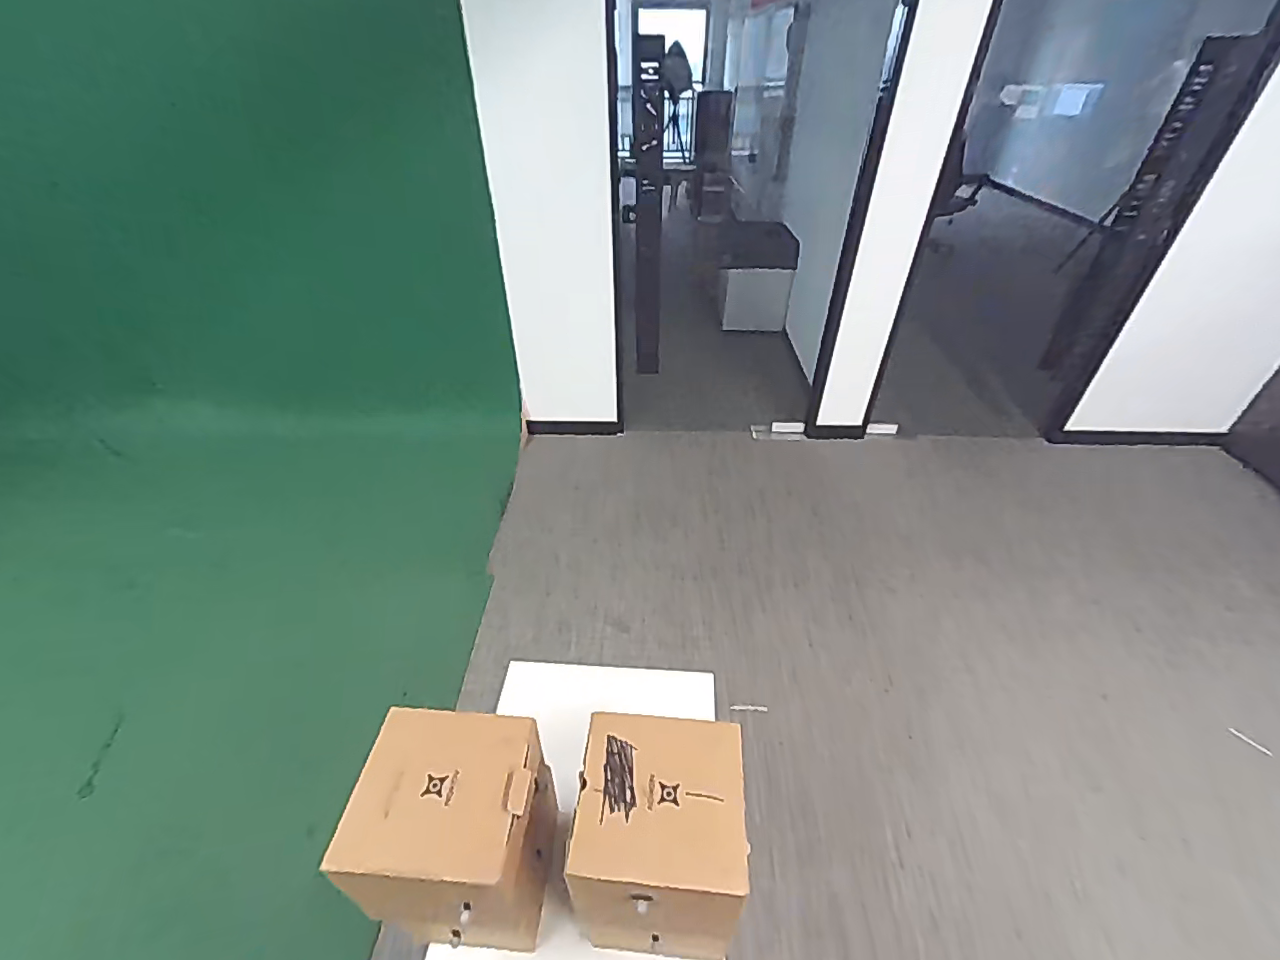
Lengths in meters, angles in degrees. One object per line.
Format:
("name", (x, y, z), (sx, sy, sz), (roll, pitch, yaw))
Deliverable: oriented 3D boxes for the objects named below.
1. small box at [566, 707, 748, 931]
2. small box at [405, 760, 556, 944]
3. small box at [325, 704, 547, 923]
("small box", (0.025, 0.385, 0.617), (0.179, 0.176, 0.168), (3, 39, 5))
("small box", (-0.213, 0.499, 0.736), (0.168, 0.176, 0.179), (4, 39, 2))
("small box", (-0.210, 0.383, 0.622), (0.179, 0.176, 0.168), (2, 38, 2))
